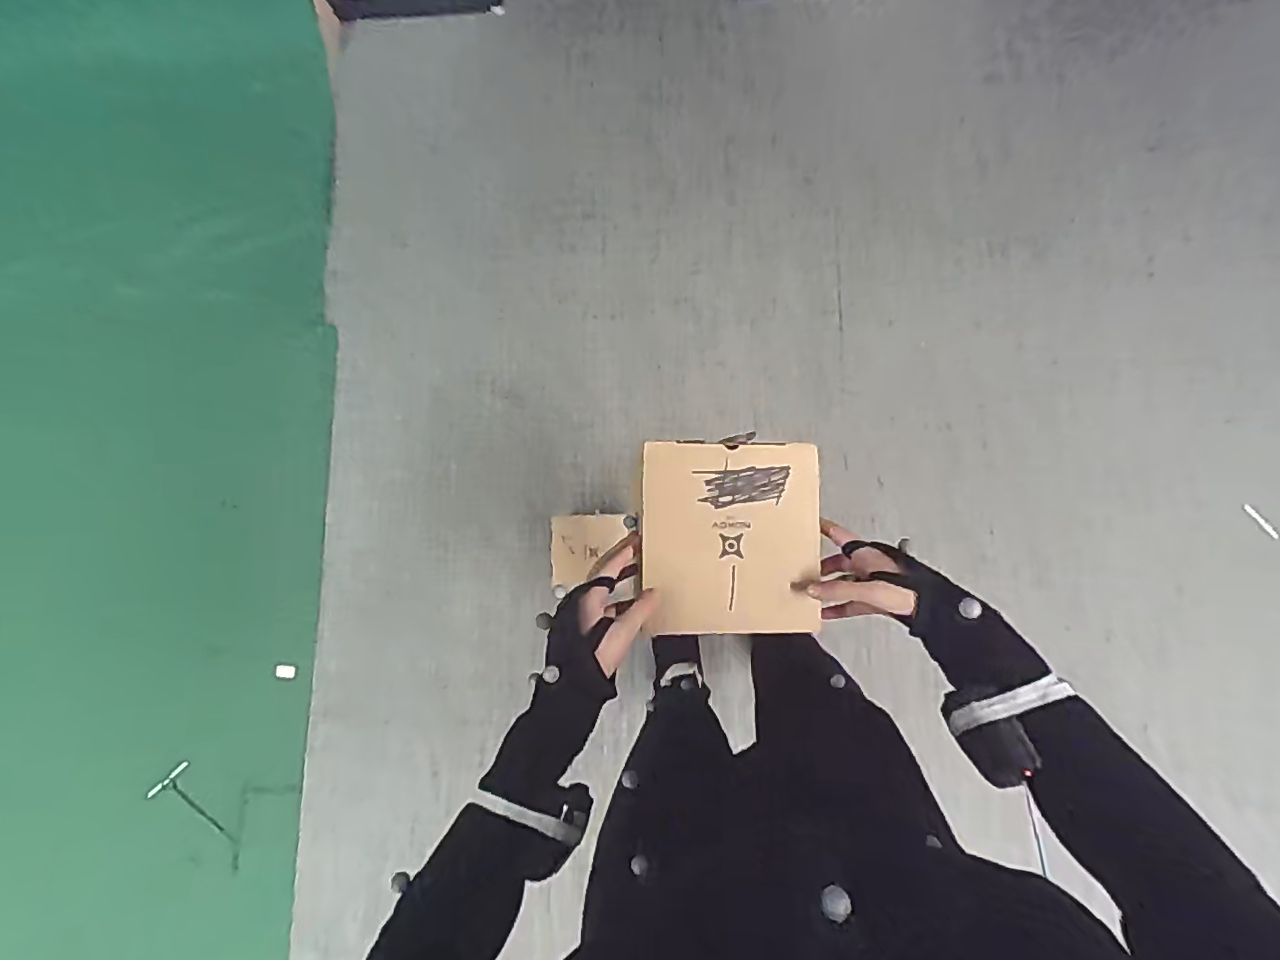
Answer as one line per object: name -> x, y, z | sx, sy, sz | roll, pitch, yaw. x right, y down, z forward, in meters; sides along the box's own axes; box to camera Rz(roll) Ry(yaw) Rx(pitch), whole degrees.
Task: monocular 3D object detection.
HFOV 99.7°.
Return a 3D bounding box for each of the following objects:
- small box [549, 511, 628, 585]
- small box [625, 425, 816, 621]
small box -> -0.110, 0.158, 1.273 | 0.179, 0.176, 0.168 | -1, 83, 3
small box -> 0.071, 0.044, 0.567 | 0.168, 0.176, 0.179 | 1, 87, -5
